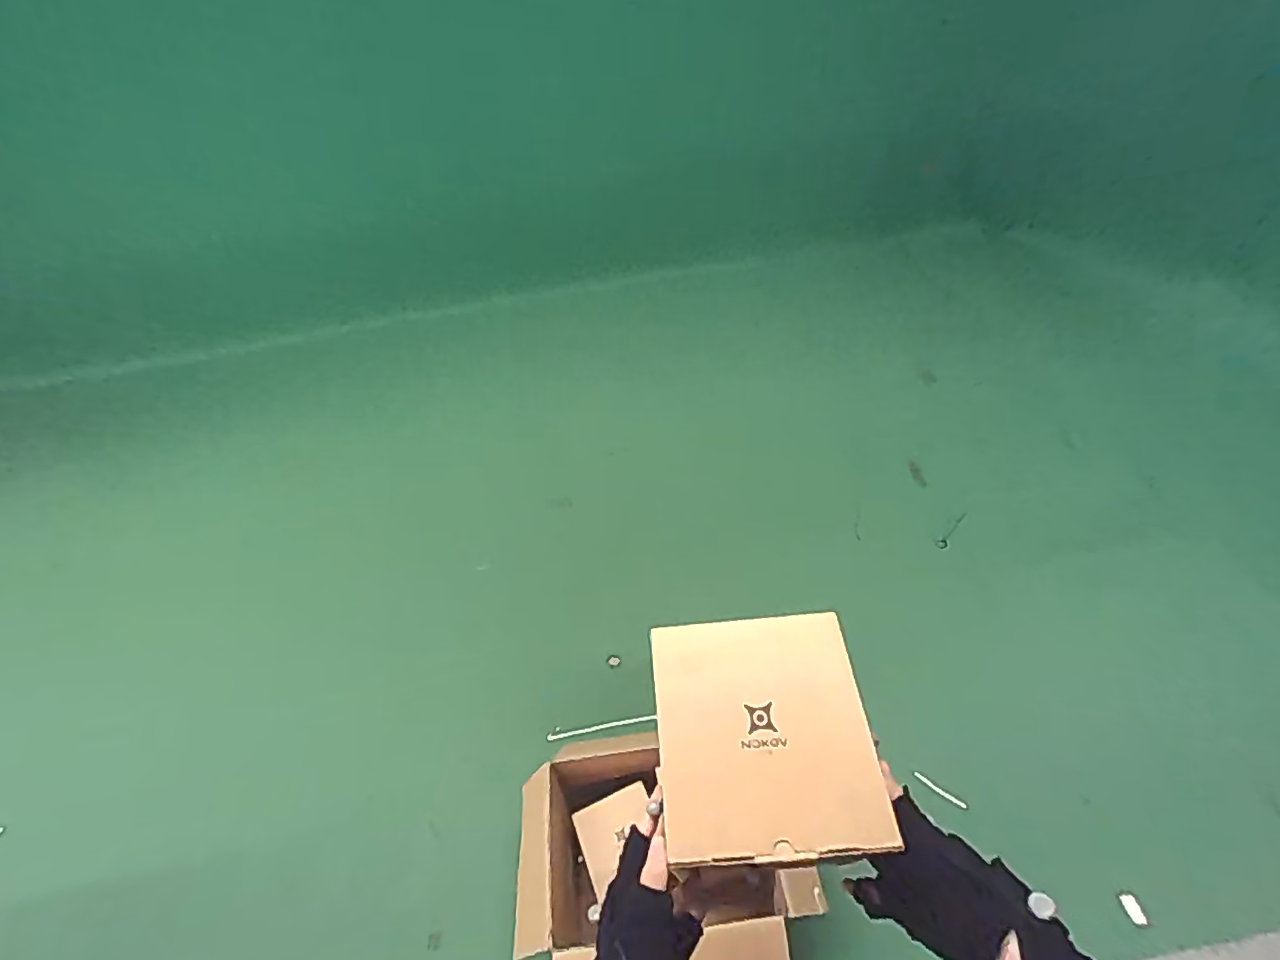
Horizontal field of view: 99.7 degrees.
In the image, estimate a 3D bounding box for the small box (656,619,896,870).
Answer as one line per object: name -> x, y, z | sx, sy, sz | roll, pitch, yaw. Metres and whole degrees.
small box -> 0.103, 0.248, 0.502 | 0.168, 0.176, 0.179 | -6, 54, 1
